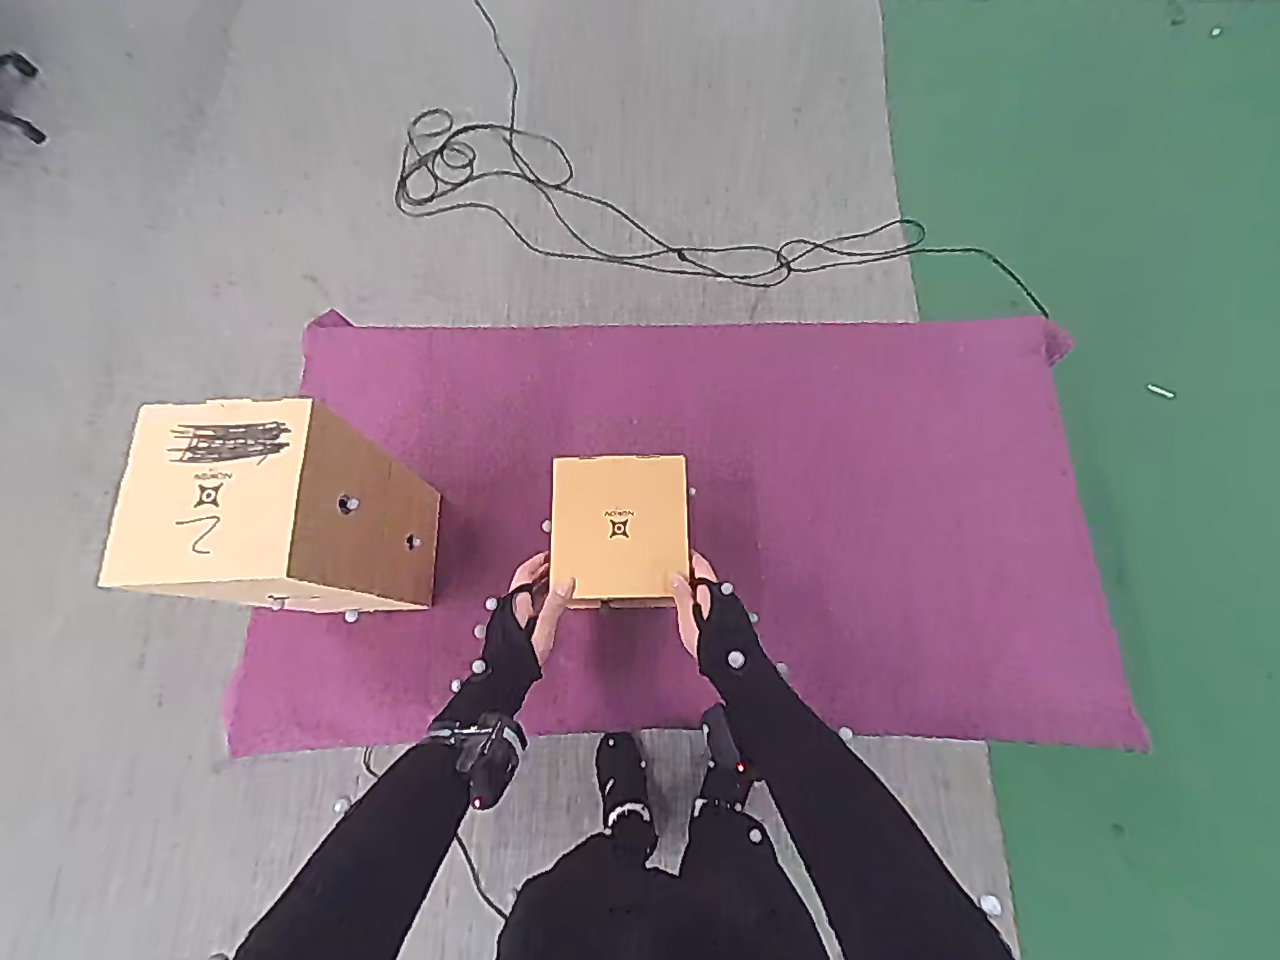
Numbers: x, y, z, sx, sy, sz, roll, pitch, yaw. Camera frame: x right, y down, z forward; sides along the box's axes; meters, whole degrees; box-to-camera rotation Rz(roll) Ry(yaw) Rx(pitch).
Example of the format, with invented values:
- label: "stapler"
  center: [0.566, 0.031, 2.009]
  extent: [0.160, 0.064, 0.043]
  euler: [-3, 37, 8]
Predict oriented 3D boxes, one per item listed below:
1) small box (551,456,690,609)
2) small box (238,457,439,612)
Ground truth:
- label: "small box"
  center: [-0.021, 0.079, 0.723]
  extent: [0.168, 0.176, 0.179]
  euler: [-1, 71, 0]
- label: "small box"
  center: [-0.381, 0.079, 0.721]
  extent: [0.168, 0.176, 0.179]
  euler: [-2, 73, 0]
